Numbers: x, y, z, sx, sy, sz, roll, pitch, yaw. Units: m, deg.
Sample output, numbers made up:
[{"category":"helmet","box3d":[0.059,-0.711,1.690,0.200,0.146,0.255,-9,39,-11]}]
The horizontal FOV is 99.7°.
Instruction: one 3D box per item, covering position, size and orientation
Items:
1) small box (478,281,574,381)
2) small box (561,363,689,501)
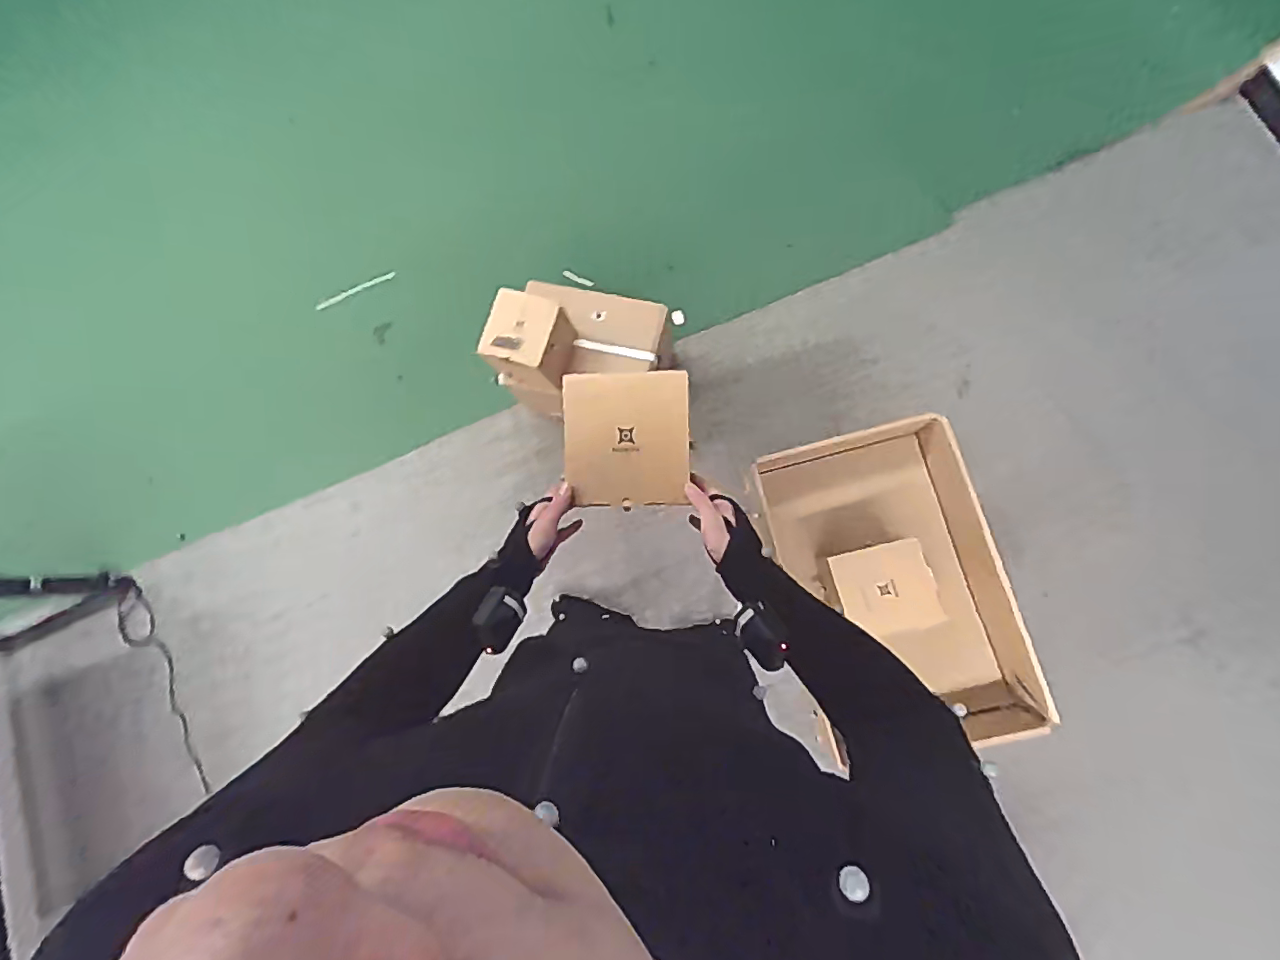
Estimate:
[{"category":"small box","box3d":[-0.281,-0.370,1.377,0.168,0.176,0.179,17,84,9]},{"category":"small box","box3d":[-0.016,-0.061,0.774,0.168,0.176,0.179,-2,91,4]}]
